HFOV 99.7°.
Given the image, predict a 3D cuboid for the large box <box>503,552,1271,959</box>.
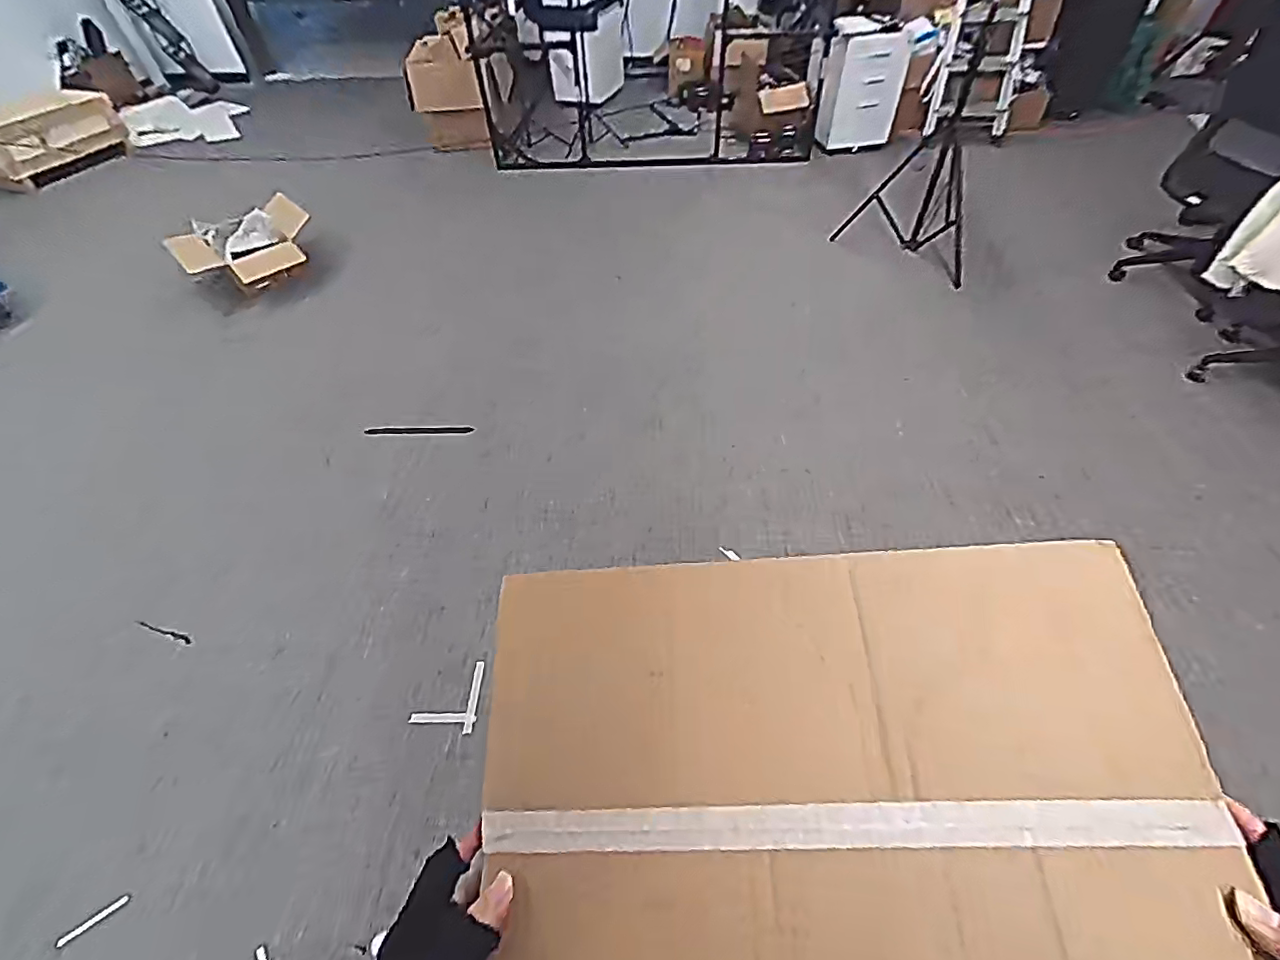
[{"bbox_3d":[0.133,0.266,0.447,0.408,0.320,0.320,-5,66,6],"label":"large box"}]
